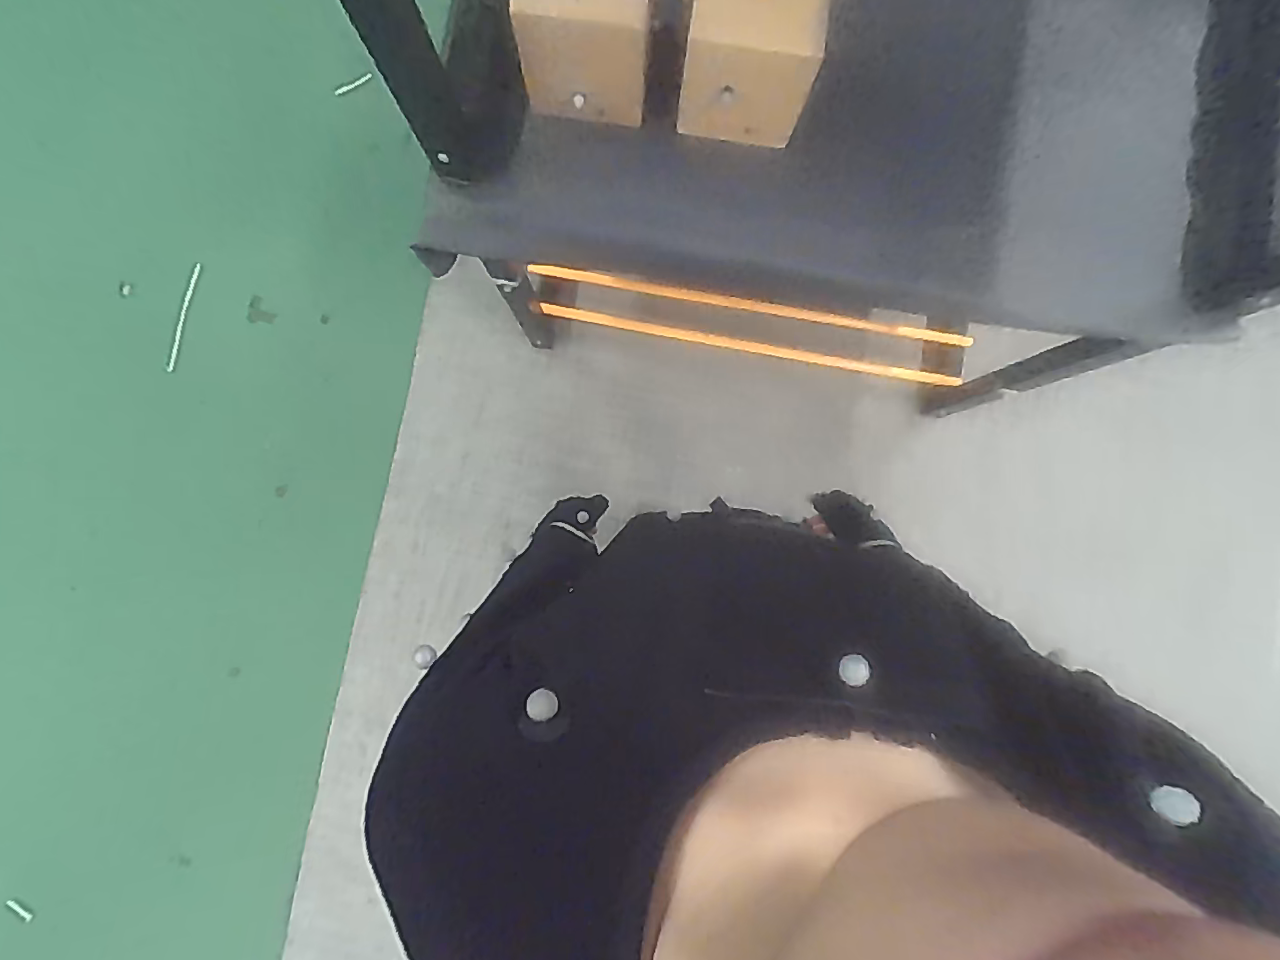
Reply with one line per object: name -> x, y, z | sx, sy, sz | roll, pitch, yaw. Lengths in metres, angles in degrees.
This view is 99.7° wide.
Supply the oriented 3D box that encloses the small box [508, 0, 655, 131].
small box -> -0.068, -0.620, 0.730 | 0.168, 0.176, 0.179 | 7, 86, 0
